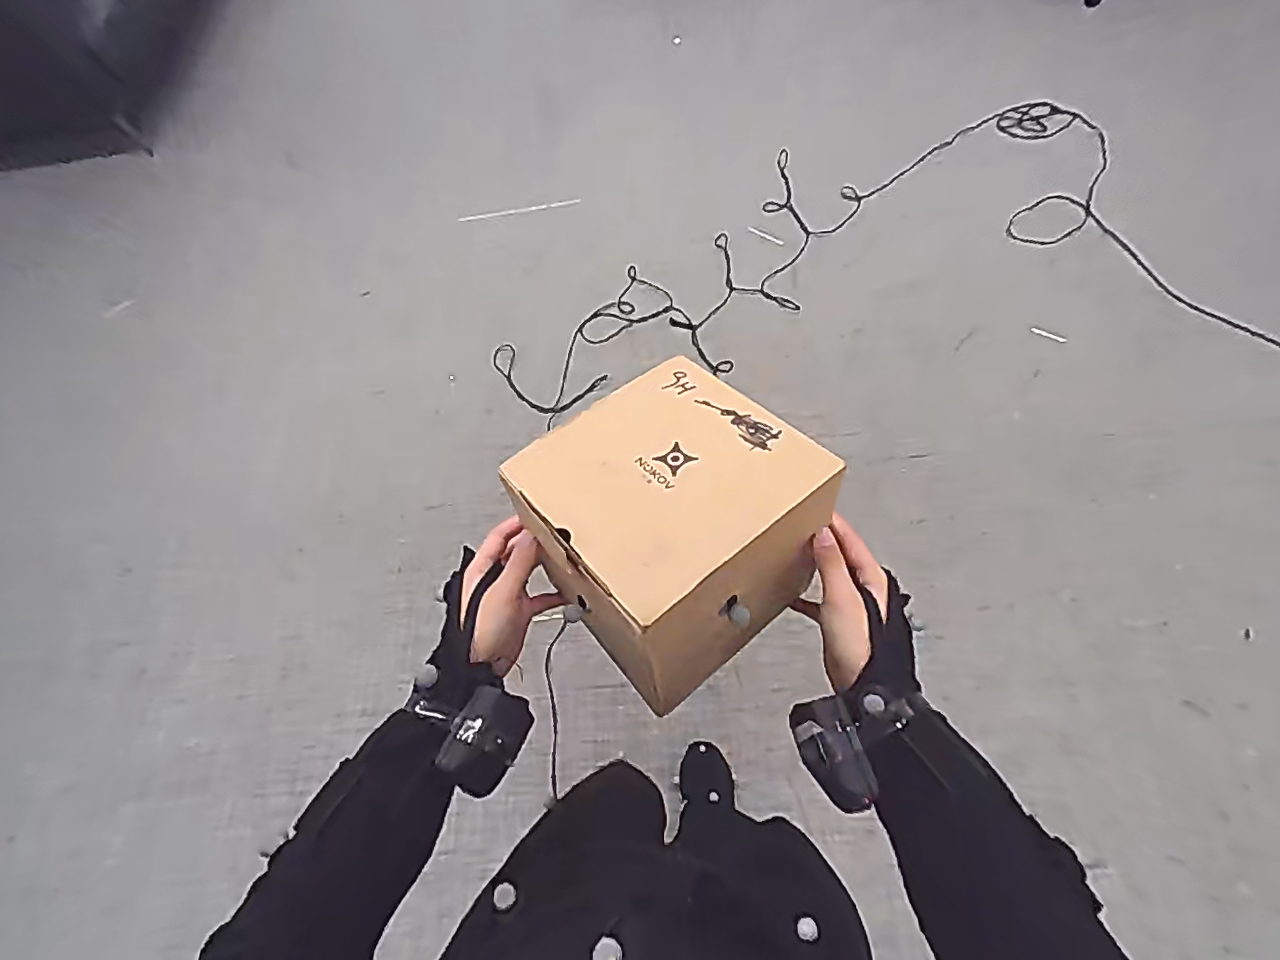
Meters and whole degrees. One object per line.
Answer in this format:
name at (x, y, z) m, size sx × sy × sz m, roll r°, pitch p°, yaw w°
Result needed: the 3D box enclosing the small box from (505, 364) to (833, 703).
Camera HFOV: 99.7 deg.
small box at (0.025, 0.045, 0.438) m, size 0.179 × 0.176 × 0.168 m, roll -35°, pitch 55°, yaw -20°
